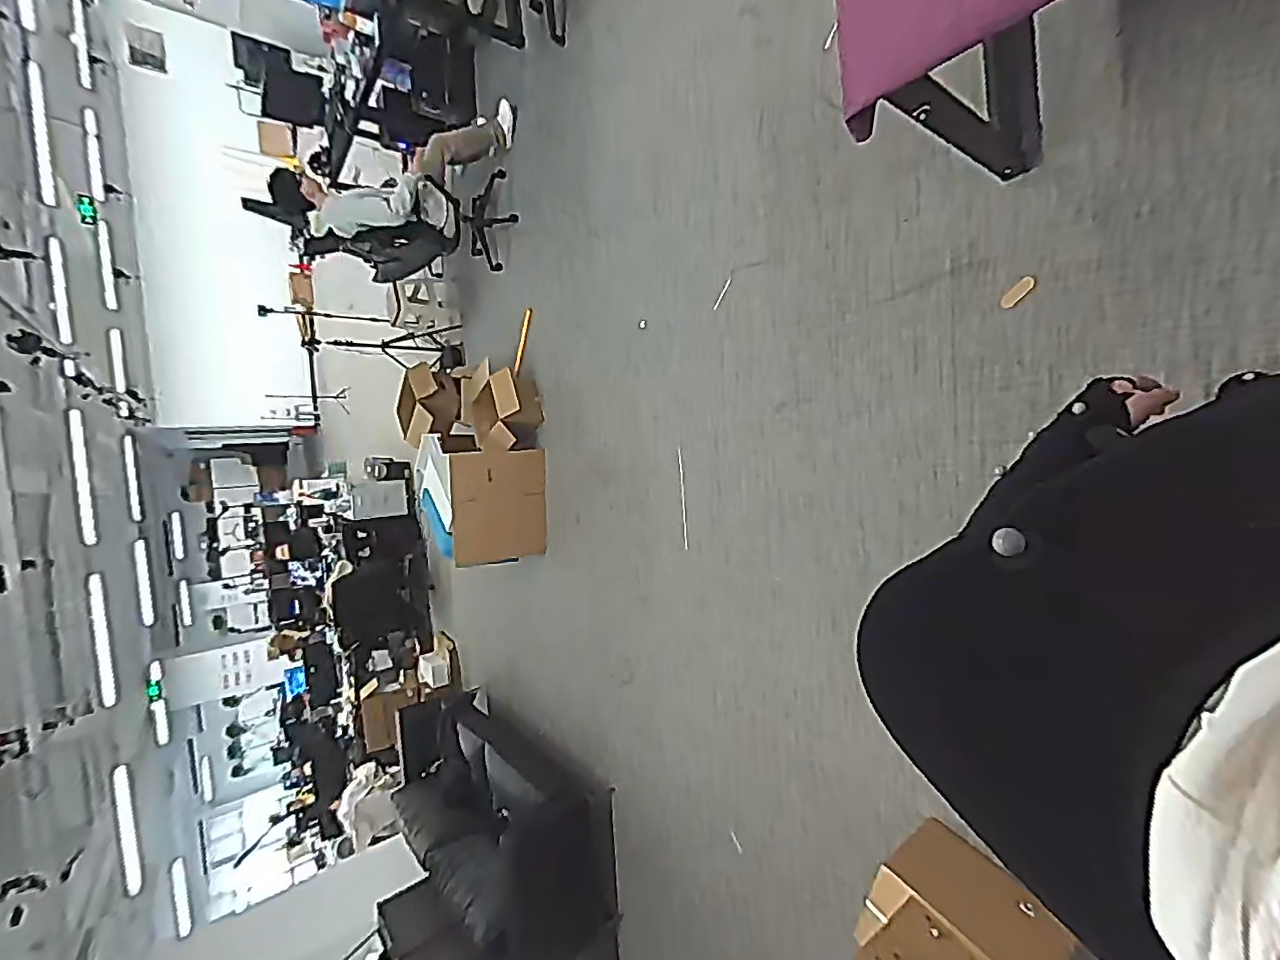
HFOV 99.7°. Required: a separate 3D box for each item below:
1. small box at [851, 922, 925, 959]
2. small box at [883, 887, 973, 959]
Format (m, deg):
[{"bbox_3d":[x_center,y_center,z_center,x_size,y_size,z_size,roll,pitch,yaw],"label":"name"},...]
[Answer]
[{"bbox_3d":[0.599,1.226,1.293,0.168,0.176,0.179,28,117,47],"label":"small box"},{"bbox_3d":[0.725,1.217,1.396,0.168,0.176,0.179,30,117,46],"label":"small box"}]
